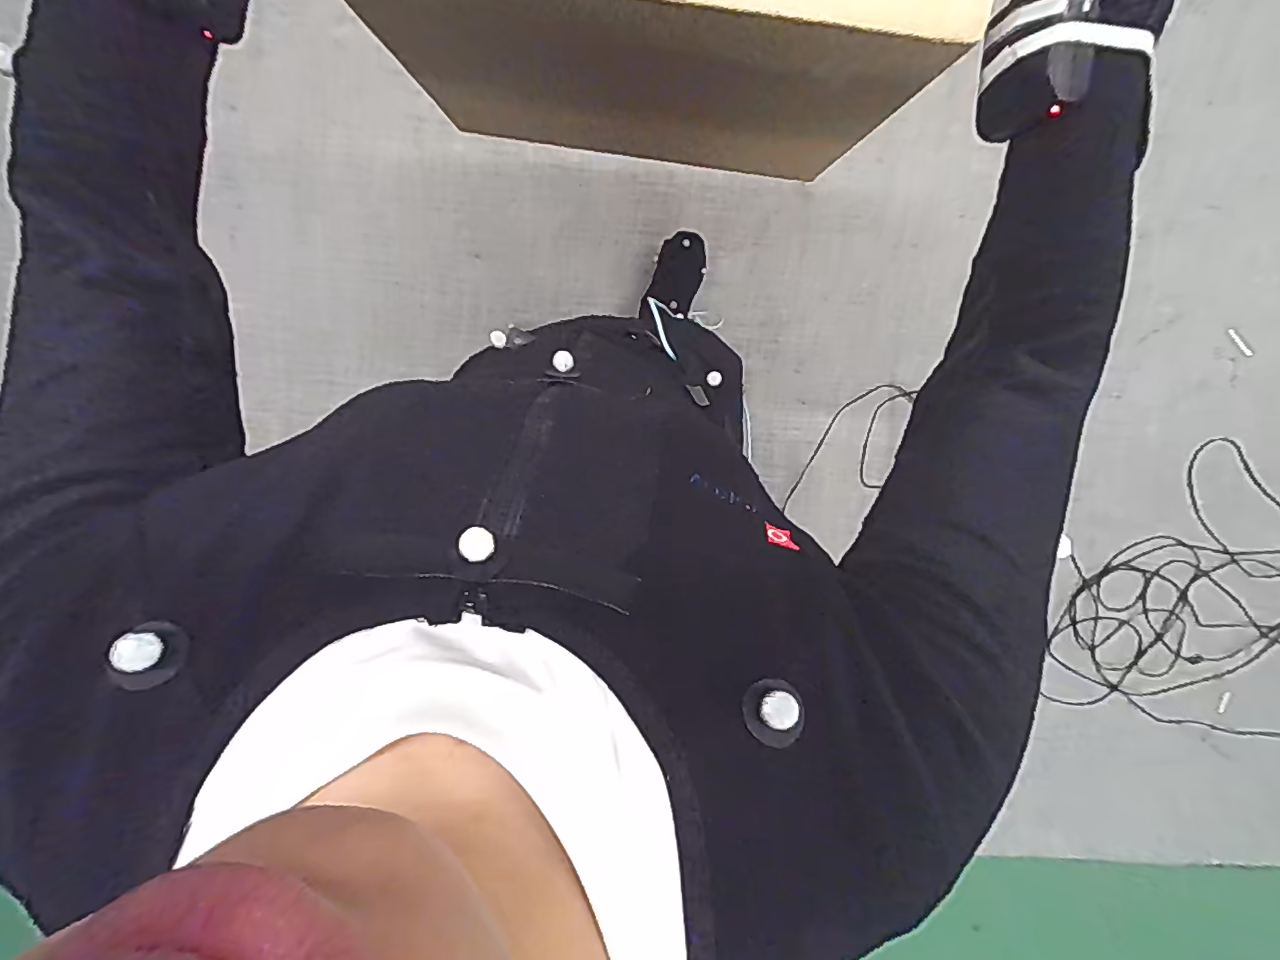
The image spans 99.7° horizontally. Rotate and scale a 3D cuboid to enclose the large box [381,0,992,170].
[{"bbox_3d":[0.026,-0.478,0.428,0.408,0.320,0.320,6,106,-4],"label":"large box"}]
